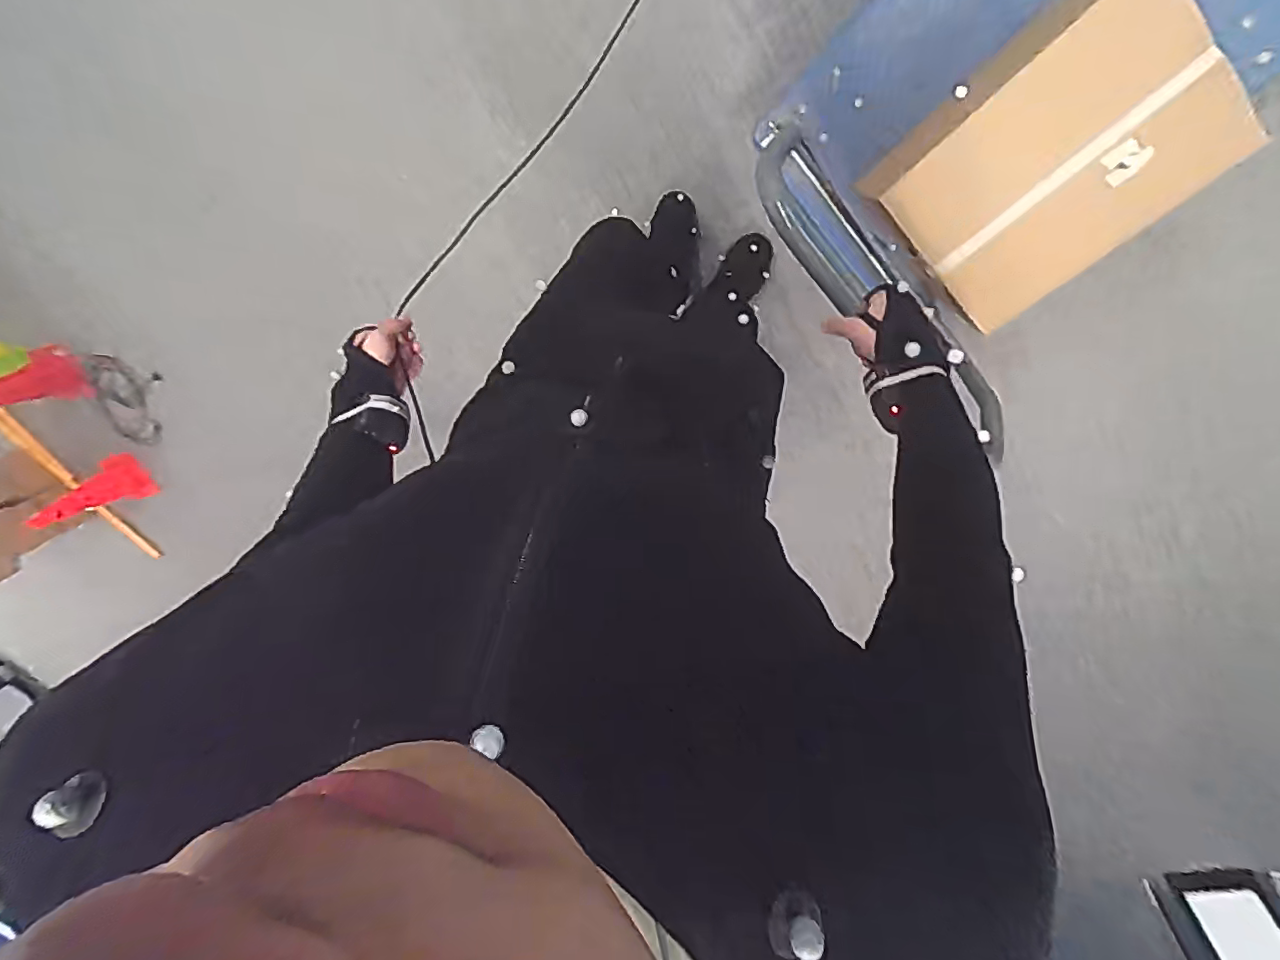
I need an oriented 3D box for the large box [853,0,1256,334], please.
[{"bbox_3d":[0.652,-0.535,0.941,0.320,0.320,0.408,43,119,-15],"label":"large box"}]
